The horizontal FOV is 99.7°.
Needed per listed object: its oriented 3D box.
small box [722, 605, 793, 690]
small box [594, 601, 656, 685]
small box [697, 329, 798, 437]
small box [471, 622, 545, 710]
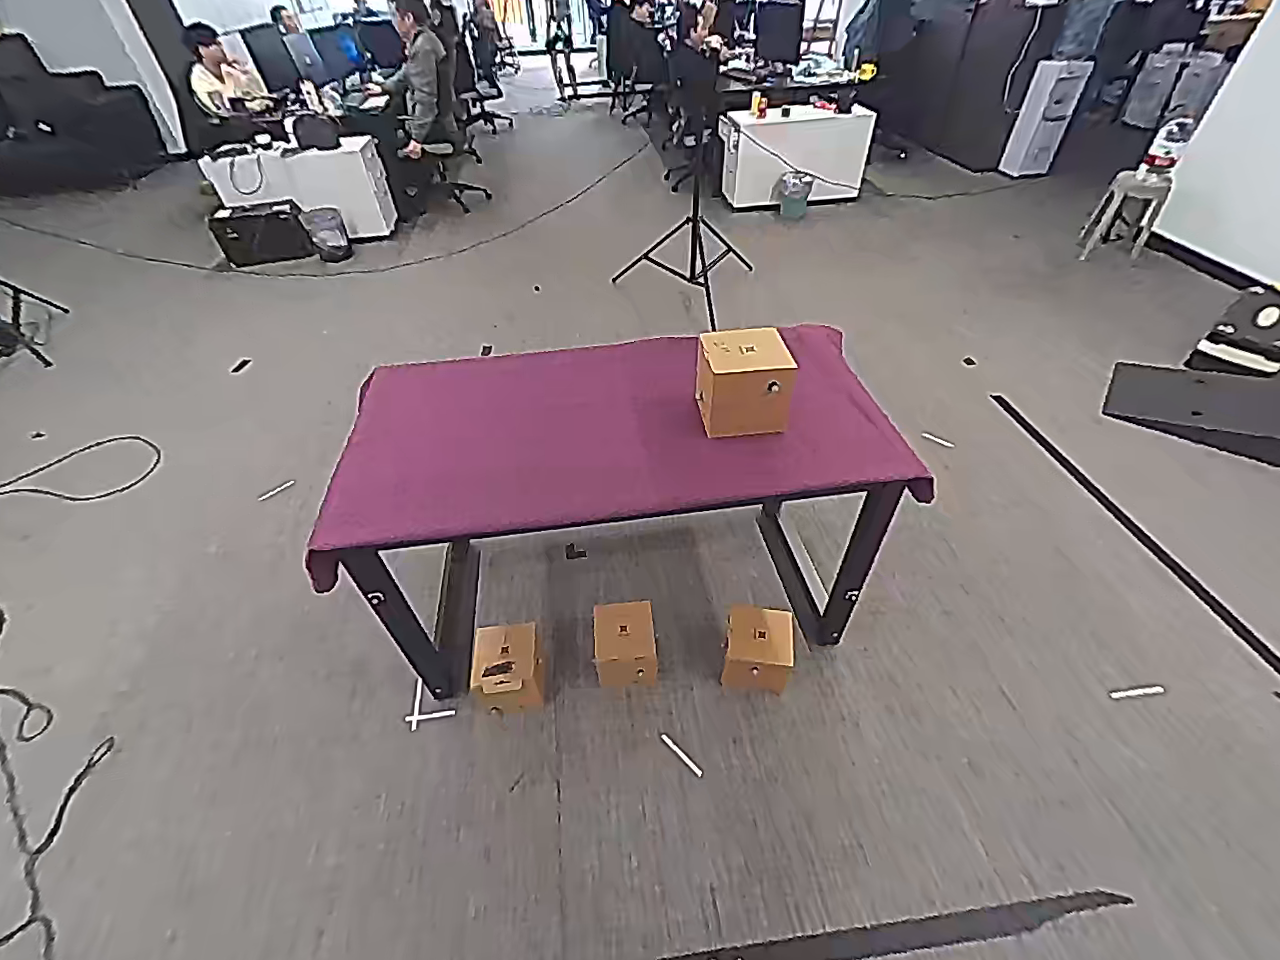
[{"bbox_3d":[0.330,0.477,1.529,0.179,0.176,0.168,4,46,9],"label":"small box"},{"bbox_3d":[-0.043,0.473,1.550,0.168,0.176,0.179,-5,43,-3],"label":"small box"},{"bbox_3d":[0.227,-0.212,1.192,0.179,0.176,0.168,-6,44,-2],"label":"small box"},{"bbox_3d":[-0.360,0.524,1.510,0.168,0.176,0.179,-6,43,-3],"label":"small box"}]
